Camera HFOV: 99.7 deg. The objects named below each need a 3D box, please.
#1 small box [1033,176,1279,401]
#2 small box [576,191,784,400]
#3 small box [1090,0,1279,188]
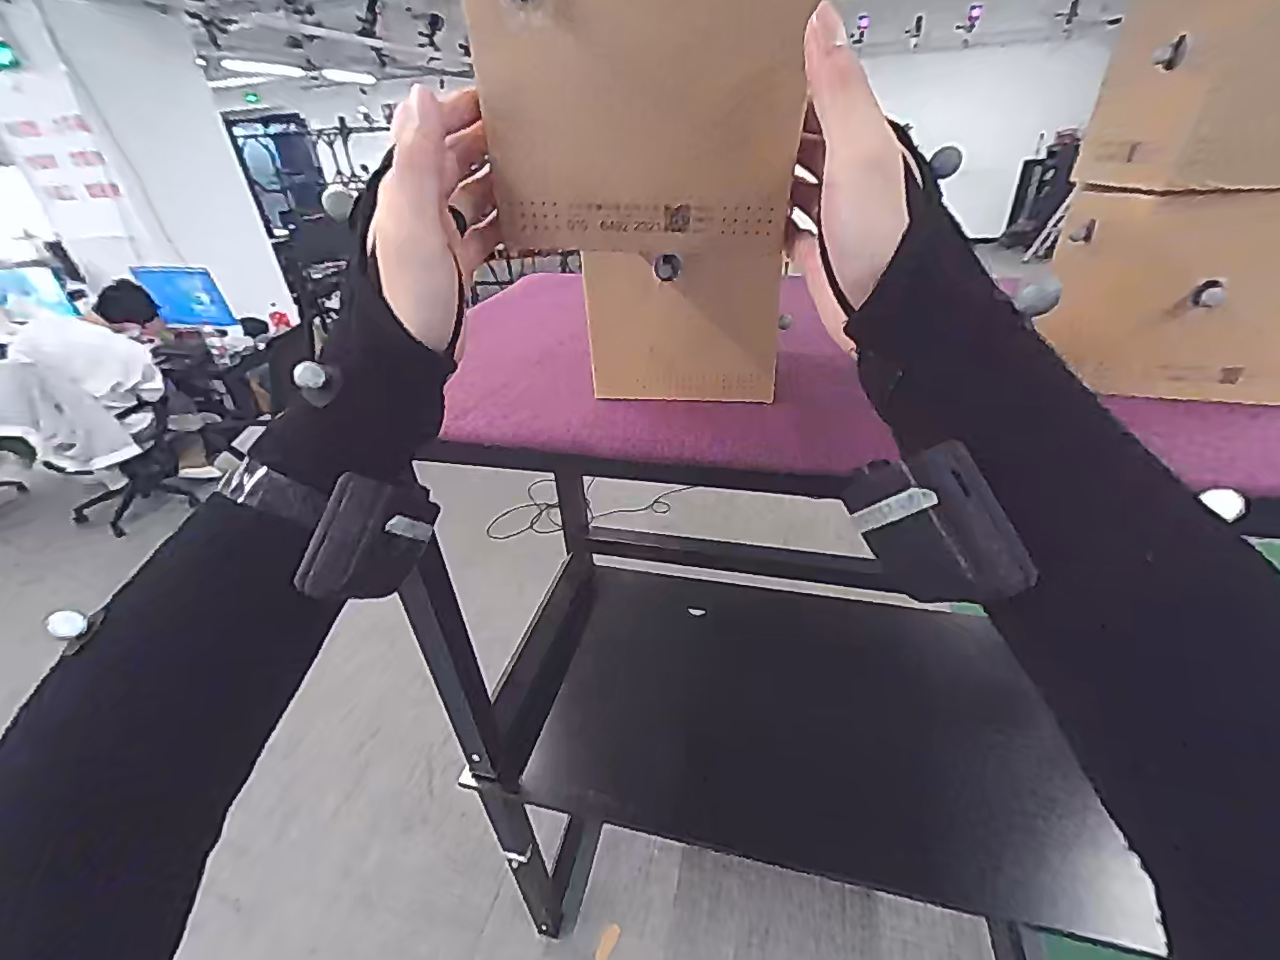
[{"bbox_3d":[0.495,-0.181,0.492,0.168,0.176,0.179,7,32,17],"label":"small box"},{"bbox_3d":[0.050,-0.188,0.548,0.179,0.176,0.168,3,33,11],"label":"small box"},{"bbox_3d":[0.480,-0.316,0.401,0.179,0.176,0.168,5,33,14],"label":"small box"}]
